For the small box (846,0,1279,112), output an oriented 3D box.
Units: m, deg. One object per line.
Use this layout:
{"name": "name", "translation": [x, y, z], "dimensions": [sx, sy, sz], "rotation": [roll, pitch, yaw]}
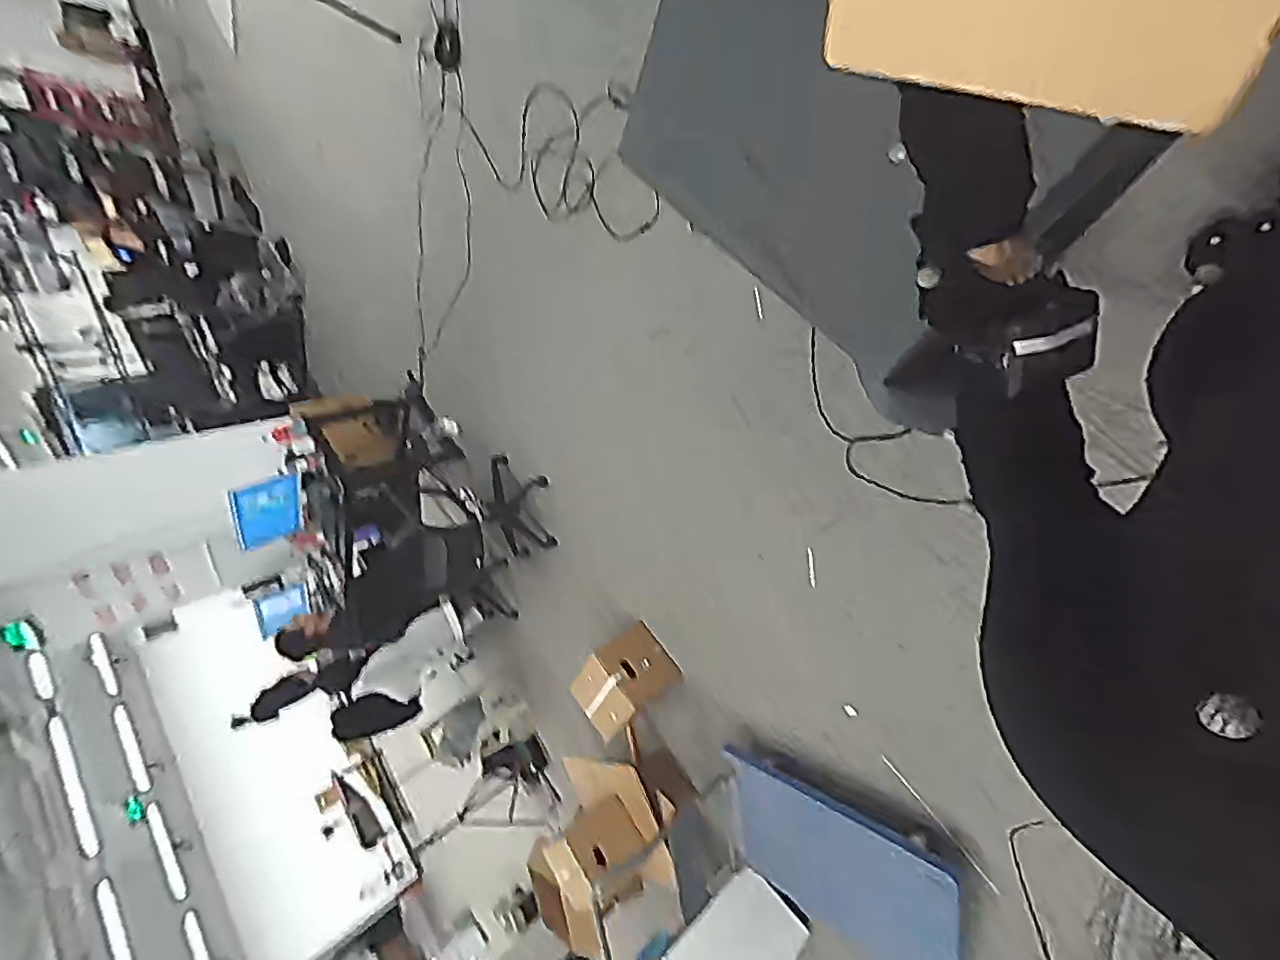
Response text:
{"name": "small box", "translation": [0.215, -0.286, 0.211], "dimensions": [0.179, 0.176, 0.168], "rotation": [34, 159, 27]}
